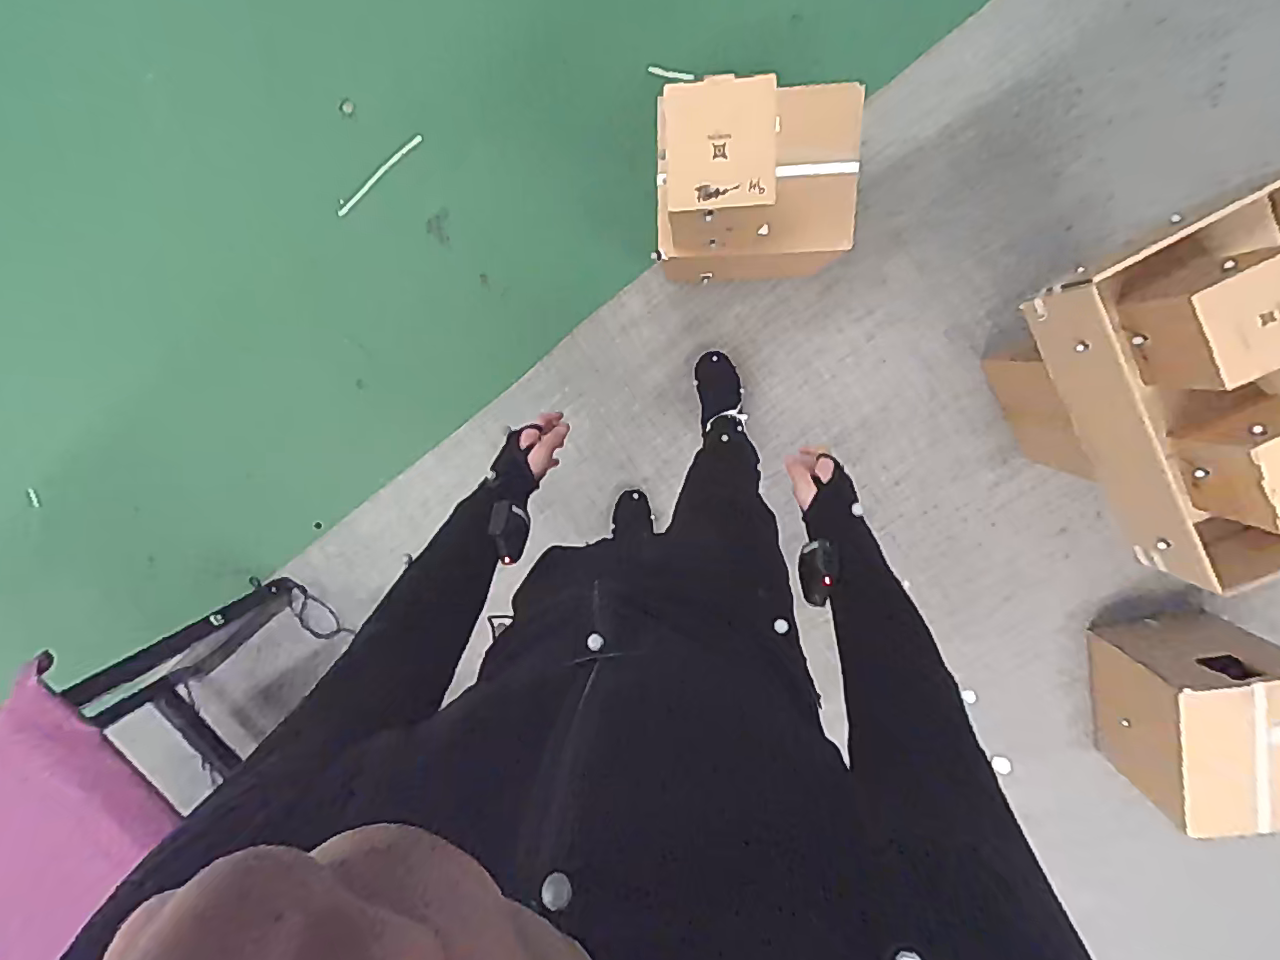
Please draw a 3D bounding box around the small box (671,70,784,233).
[{"bbox_3d":[0.133,-0.514,0.870,0.168,0.176,0.179,-1,102,6],"label":"small box"}]

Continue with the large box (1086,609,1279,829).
[{"bbox_3d":[1.440,0.600,1.401,0.320,0.320,0.408,-12,100,8],"label":"large box"}]

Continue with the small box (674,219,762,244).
[{"bbox_3d":[0.147,-0.561,1.027,0.168,0.176,0.179,-1,103,6],"label":"small box"}]

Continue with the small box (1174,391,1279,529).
[{"bbox_3d":[1.106,-0.042,0.935,0.179,0.176,0.168,-27,98,12],"label":"small box"}]
